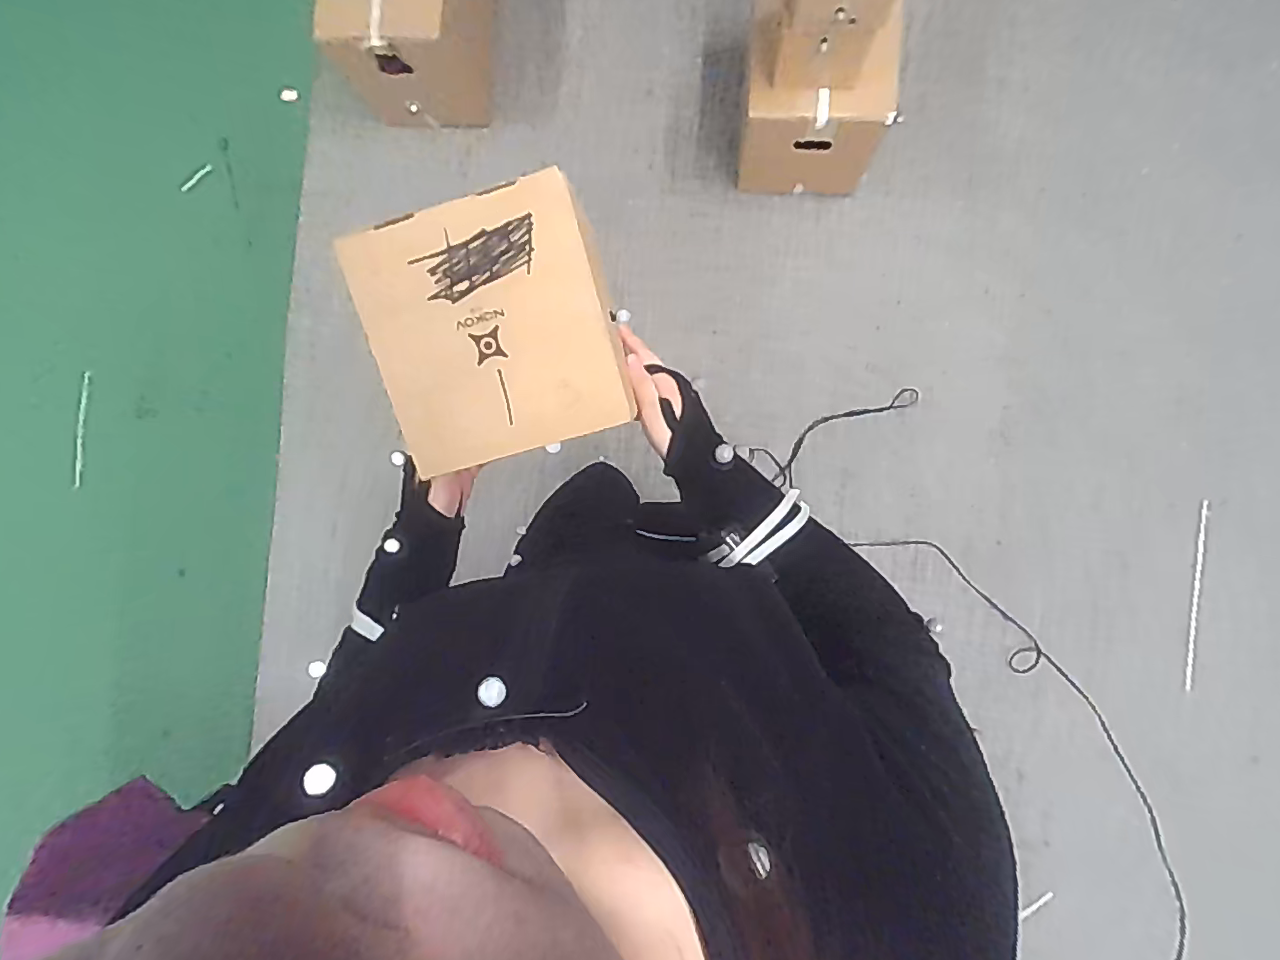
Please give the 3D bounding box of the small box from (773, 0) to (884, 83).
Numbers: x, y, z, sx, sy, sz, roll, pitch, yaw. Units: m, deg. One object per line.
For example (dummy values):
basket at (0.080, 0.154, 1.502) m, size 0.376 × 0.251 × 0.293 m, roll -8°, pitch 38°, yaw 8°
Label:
small box at (0.366, -0.918, 1.061) m, size 0.179 × 0.176 × 0.168 m, roll 3°, pitch 91°, yaw 7°

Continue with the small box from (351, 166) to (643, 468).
small box at (-0.097, -0.124, 0.456) m, size 0.168 × 0.176 × 0.179 m, roll -14°, pitch 102°, yaw 5°

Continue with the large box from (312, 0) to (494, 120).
large box at (-0.582, -1.220, 1.386) m, size 0.320 × 0.320 × 0.408 m, roll 5°, pitch 90°, yaw 5°
